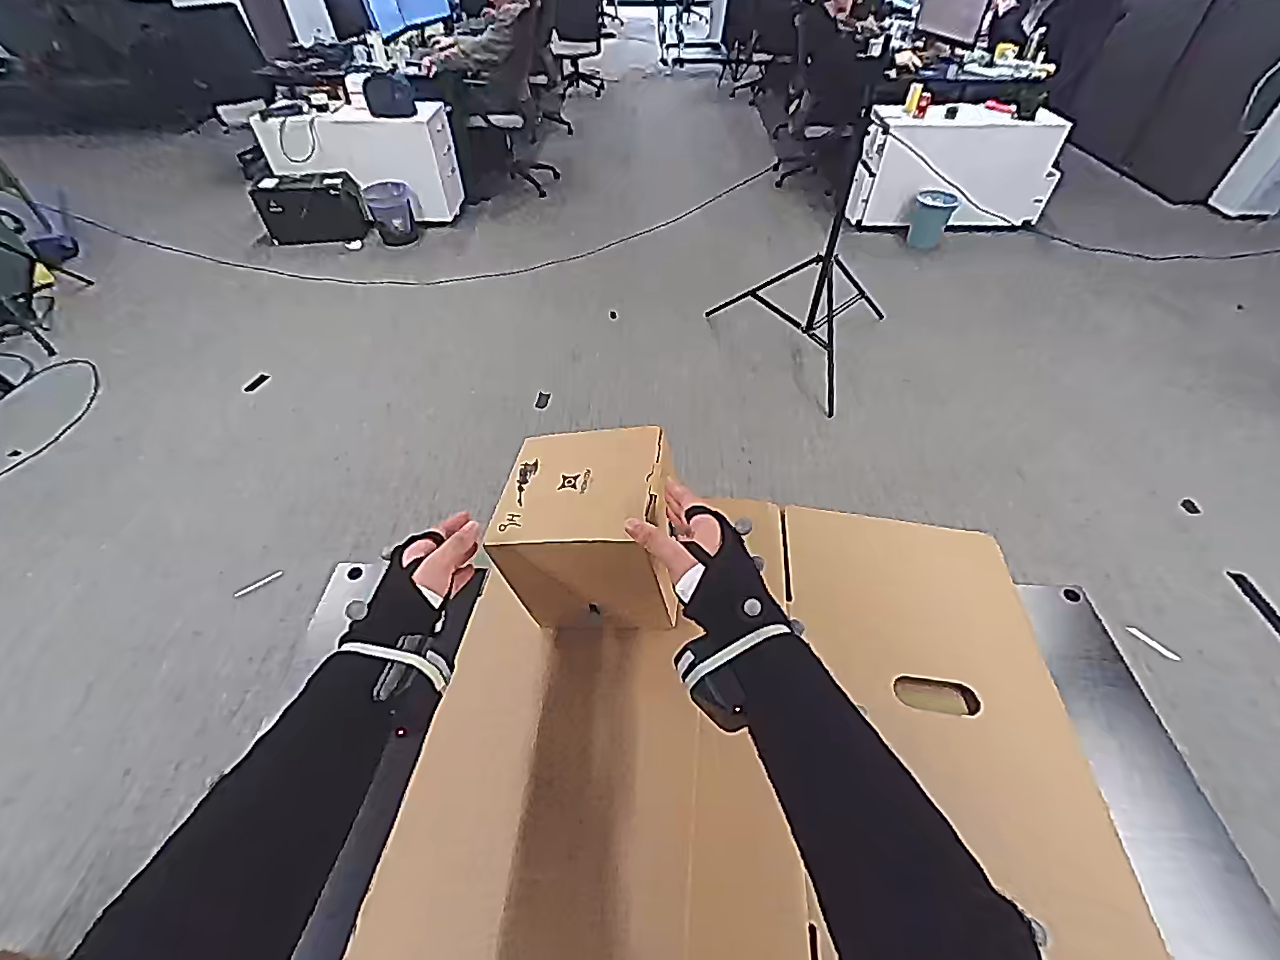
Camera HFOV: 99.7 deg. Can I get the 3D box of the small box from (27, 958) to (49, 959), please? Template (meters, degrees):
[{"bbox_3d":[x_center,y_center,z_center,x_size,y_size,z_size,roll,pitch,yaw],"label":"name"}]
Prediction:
[{"bbox_3d":[-1.183,0.997,0.987,0.168,0.176,0.179,-2,48,-2],"label":"small box"}]

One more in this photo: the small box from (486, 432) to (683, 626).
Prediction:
[{"bbox_3d":[-0.049,0.062,0.648,0.179,0.176,0.168,-3,45,14],"label":"small box"}]
